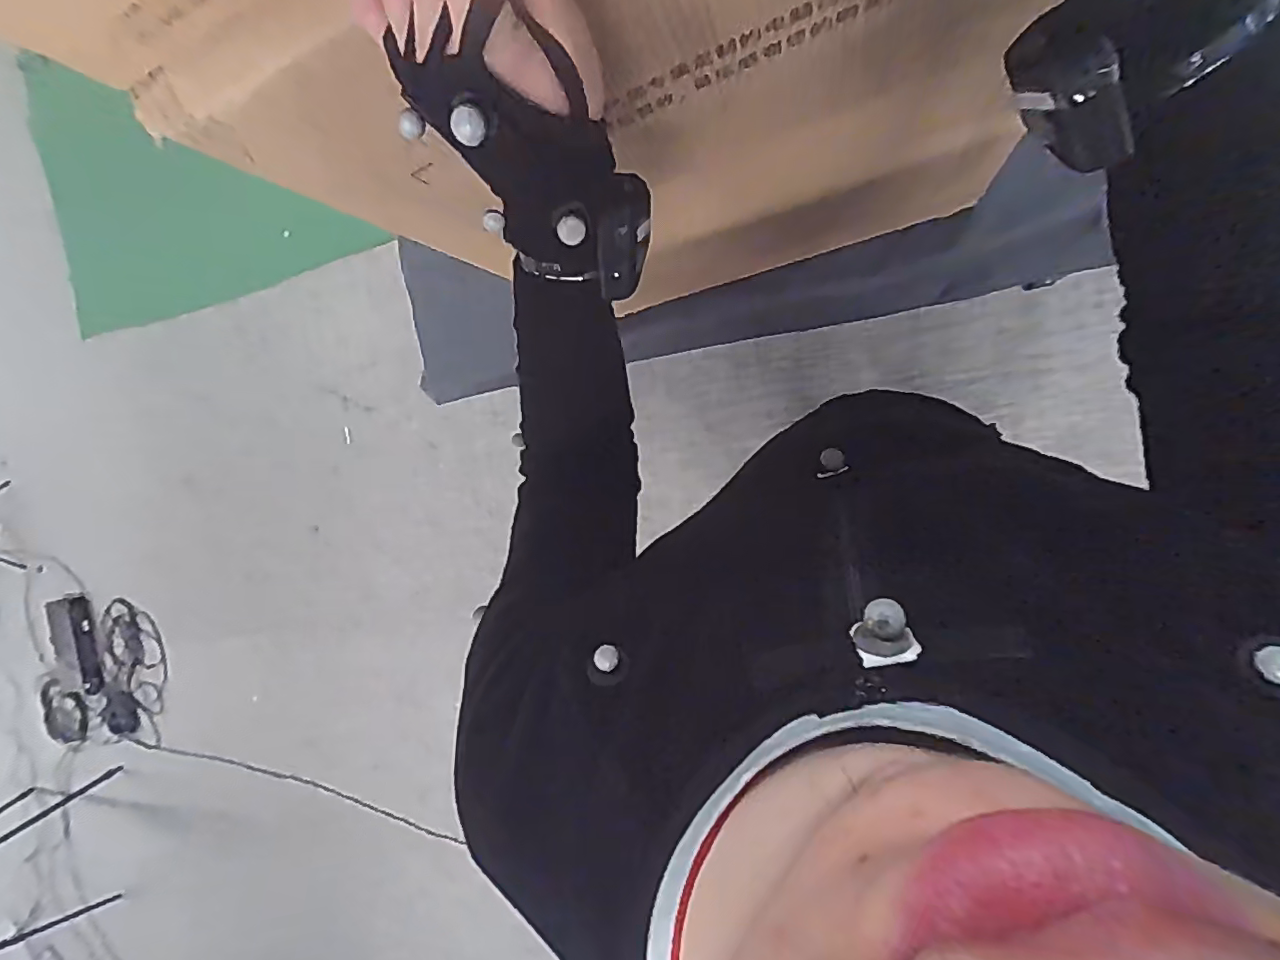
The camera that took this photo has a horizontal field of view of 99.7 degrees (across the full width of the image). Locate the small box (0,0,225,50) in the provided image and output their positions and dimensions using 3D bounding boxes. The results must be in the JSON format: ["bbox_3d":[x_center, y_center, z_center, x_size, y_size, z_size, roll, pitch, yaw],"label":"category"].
[{"bbox_3d":[-0.229,-0.288,0.171,0.168,0.176,0.179,-10,94,20],"label":"small box"}]
